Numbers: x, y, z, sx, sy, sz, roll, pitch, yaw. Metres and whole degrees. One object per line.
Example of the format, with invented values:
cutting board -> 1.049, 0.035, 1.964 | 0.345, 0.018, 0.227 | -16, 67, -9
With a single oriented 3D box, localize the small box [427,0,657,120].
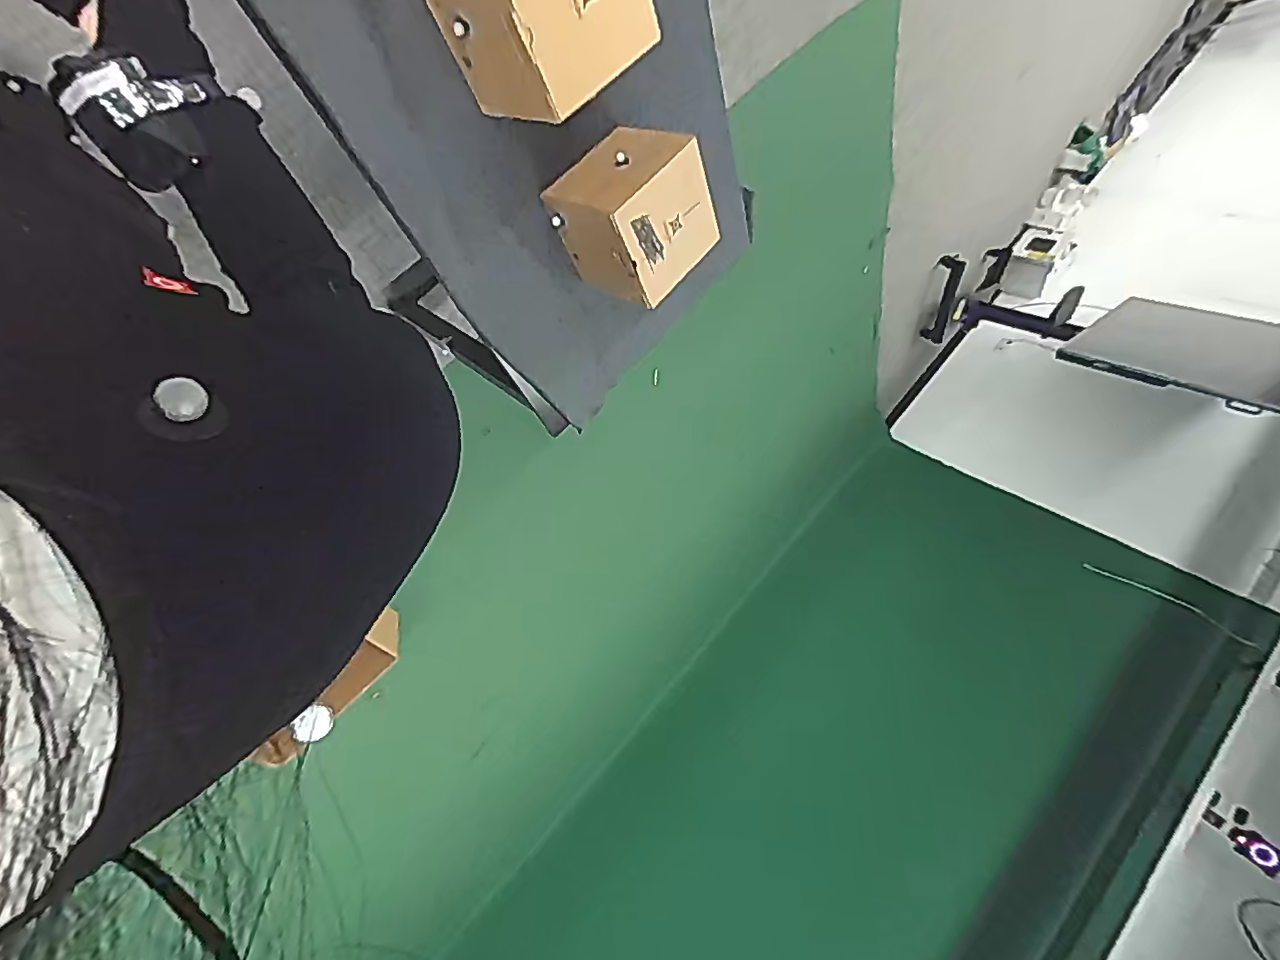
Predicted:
small box -> -0.115, -0.542, 0.602 | 0.179, 0.176, 0.168 | -47, 144, -11

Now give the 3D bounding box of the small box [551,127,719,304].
small box -> -0.012, -0.406, 0.828 | 0.179, 0.176, 0.168 | -48, 144, -12
